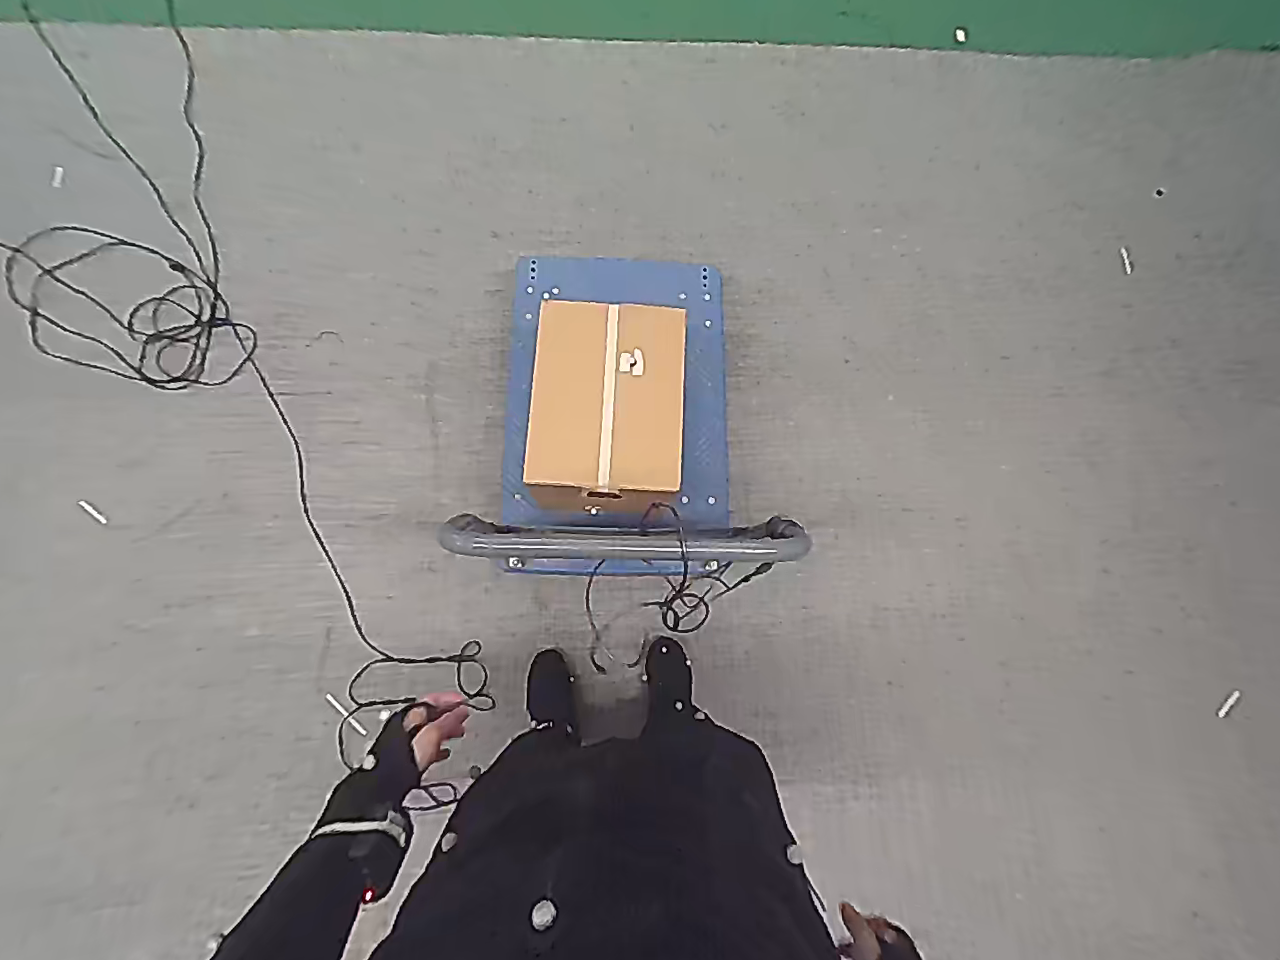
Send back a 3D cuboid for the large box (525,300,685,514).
[{"bbox_3d":[-0.072,-0.144,1.244,0.320,0.320,0.408,4,76,-3],"label":"large box"}]
